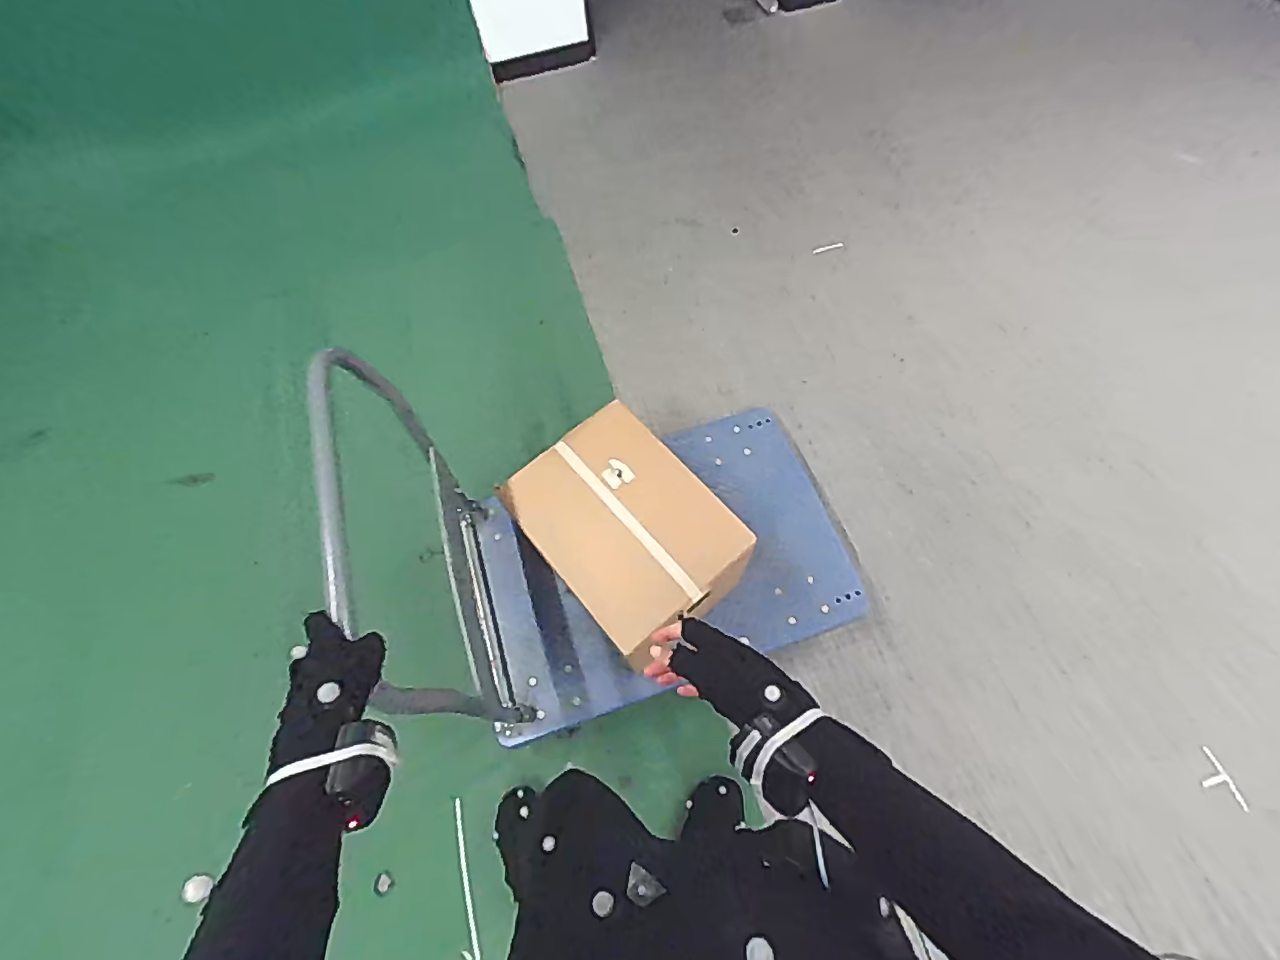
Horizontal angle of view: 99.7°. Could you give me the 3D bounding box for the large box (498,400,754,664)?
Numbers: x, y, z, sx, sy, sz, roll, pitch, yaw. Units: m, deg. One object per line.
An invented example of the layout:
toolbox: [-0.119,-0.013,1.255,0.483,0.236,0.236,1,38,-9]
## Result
large box: [-0.020,0.120,1.140,0.320,0.320,0.408,-38,68,-13]
